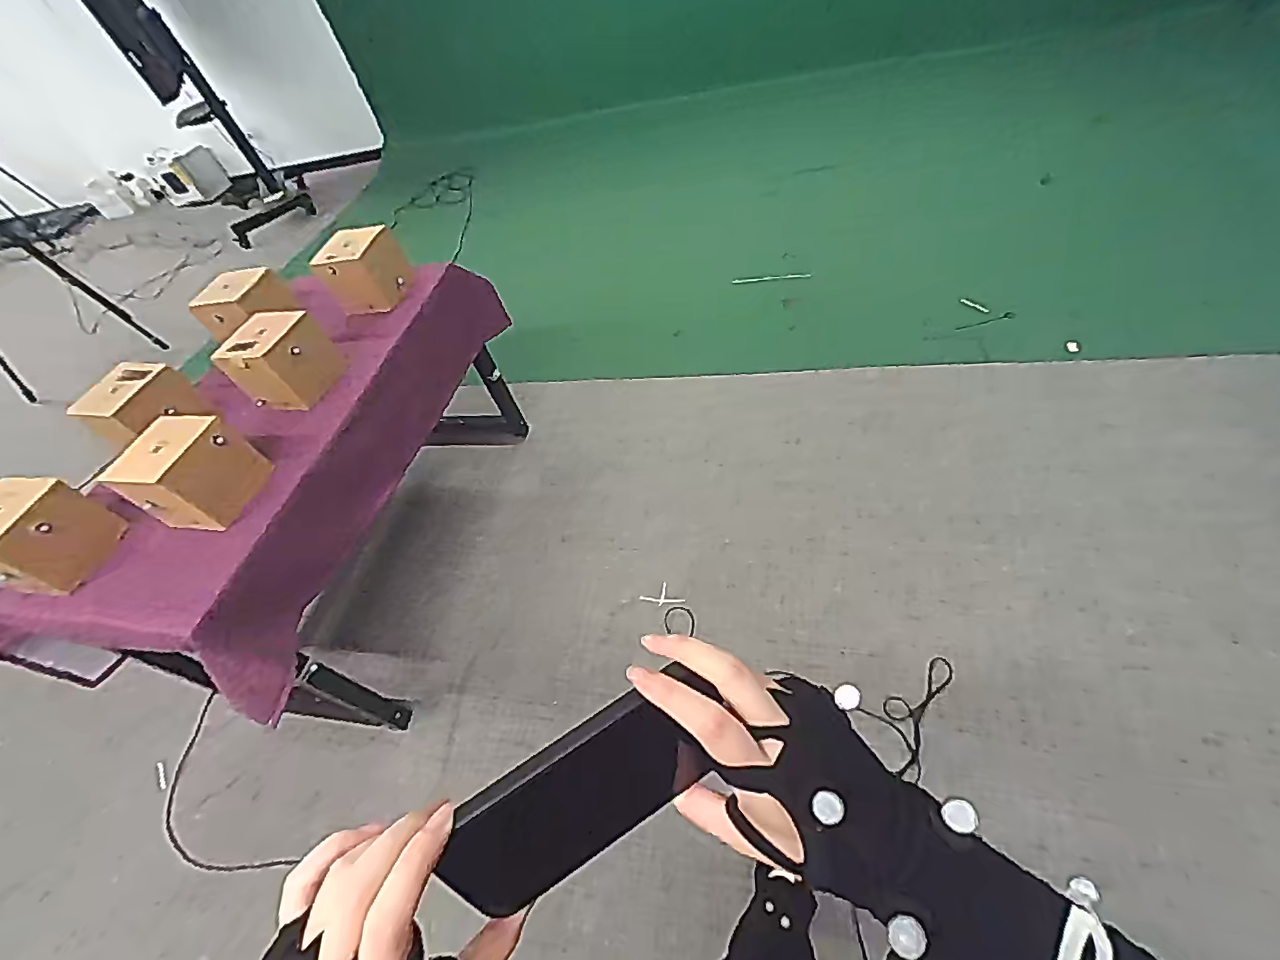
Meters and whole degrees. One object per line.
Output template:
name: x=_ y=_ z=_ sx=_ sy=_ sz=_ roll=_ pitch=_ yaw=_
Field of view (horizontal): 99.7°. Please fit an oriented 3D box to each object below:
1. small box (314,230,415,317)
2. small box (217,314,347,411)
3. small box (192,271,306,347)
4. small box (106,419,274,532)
small box: x=-0.782 y=-0.594 z=1.562 sx=0.168 sy=0.176 sz=0.179 roll=0 pitch=52 yaw=16
small box: x=-0.873 y=-0.286 z=1.340 sx=0.168 sy=0.176 sz=0.179 roll=4 pitch=52 yaw=18
small box: x=-1.105 y=-0.472 z=1.551 sx=0.179 sy=0.176 sz=0.168 roll=-1 pitch=52 yaw=14
small box: x=-0.922 y=-0.007 z=1.129 sx=0.168 sy=0.176 sz=0.179 roll=2 pitch=52 yaw=17
